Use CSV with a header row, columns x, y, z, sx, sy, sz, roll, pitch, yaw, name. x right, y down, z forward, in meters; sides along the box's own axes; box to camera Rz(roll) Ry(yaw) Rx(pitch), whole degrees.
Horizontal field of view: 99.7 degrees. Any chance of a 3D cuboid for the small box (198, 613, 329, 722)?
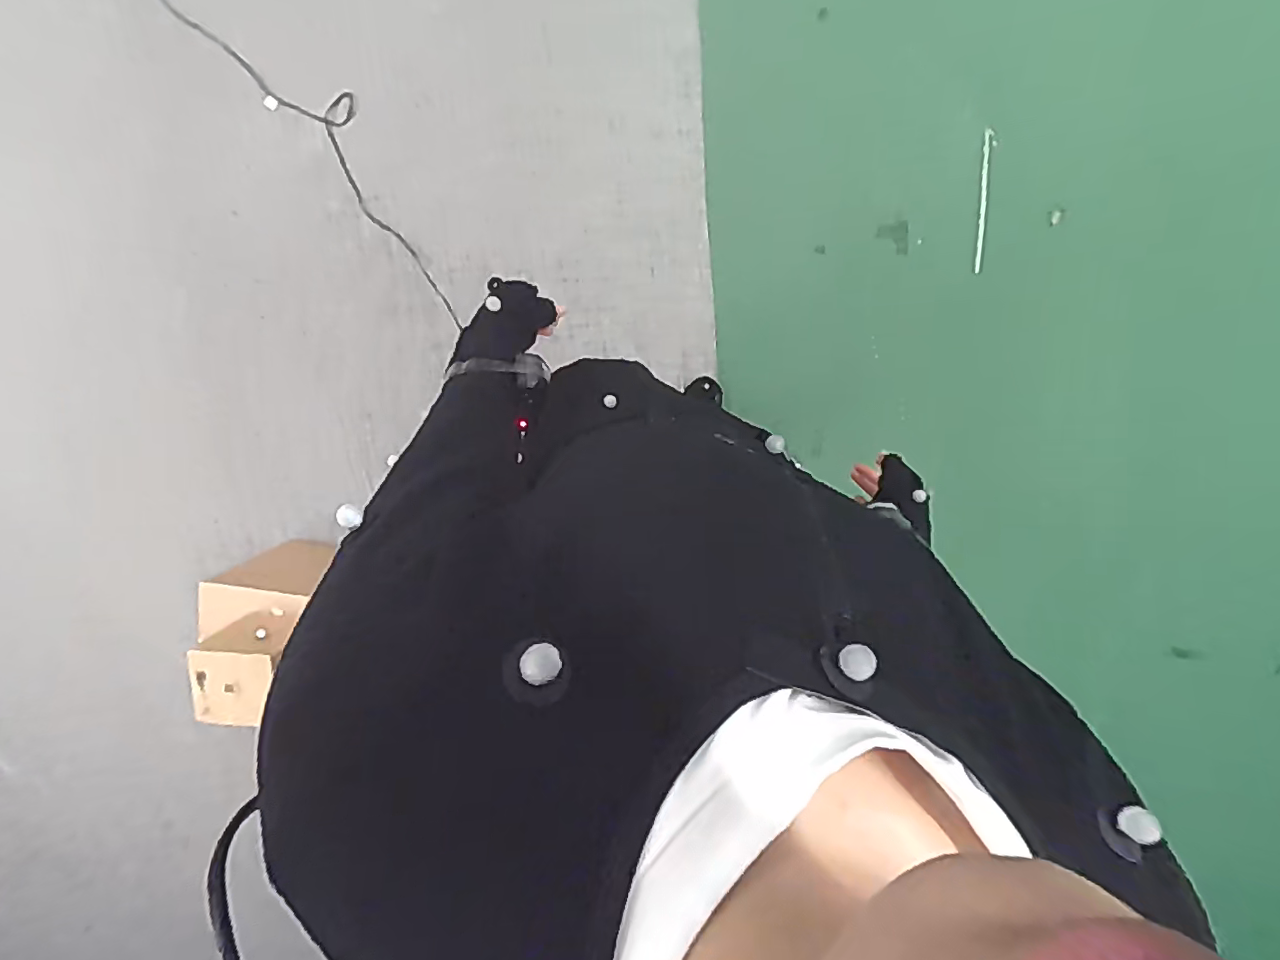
x,y,z,sx,sy,sz,roll,pitch,yaw,name
-0.809,0.404,1.185,0.179,0.176,0.168,3,102,1,small box
